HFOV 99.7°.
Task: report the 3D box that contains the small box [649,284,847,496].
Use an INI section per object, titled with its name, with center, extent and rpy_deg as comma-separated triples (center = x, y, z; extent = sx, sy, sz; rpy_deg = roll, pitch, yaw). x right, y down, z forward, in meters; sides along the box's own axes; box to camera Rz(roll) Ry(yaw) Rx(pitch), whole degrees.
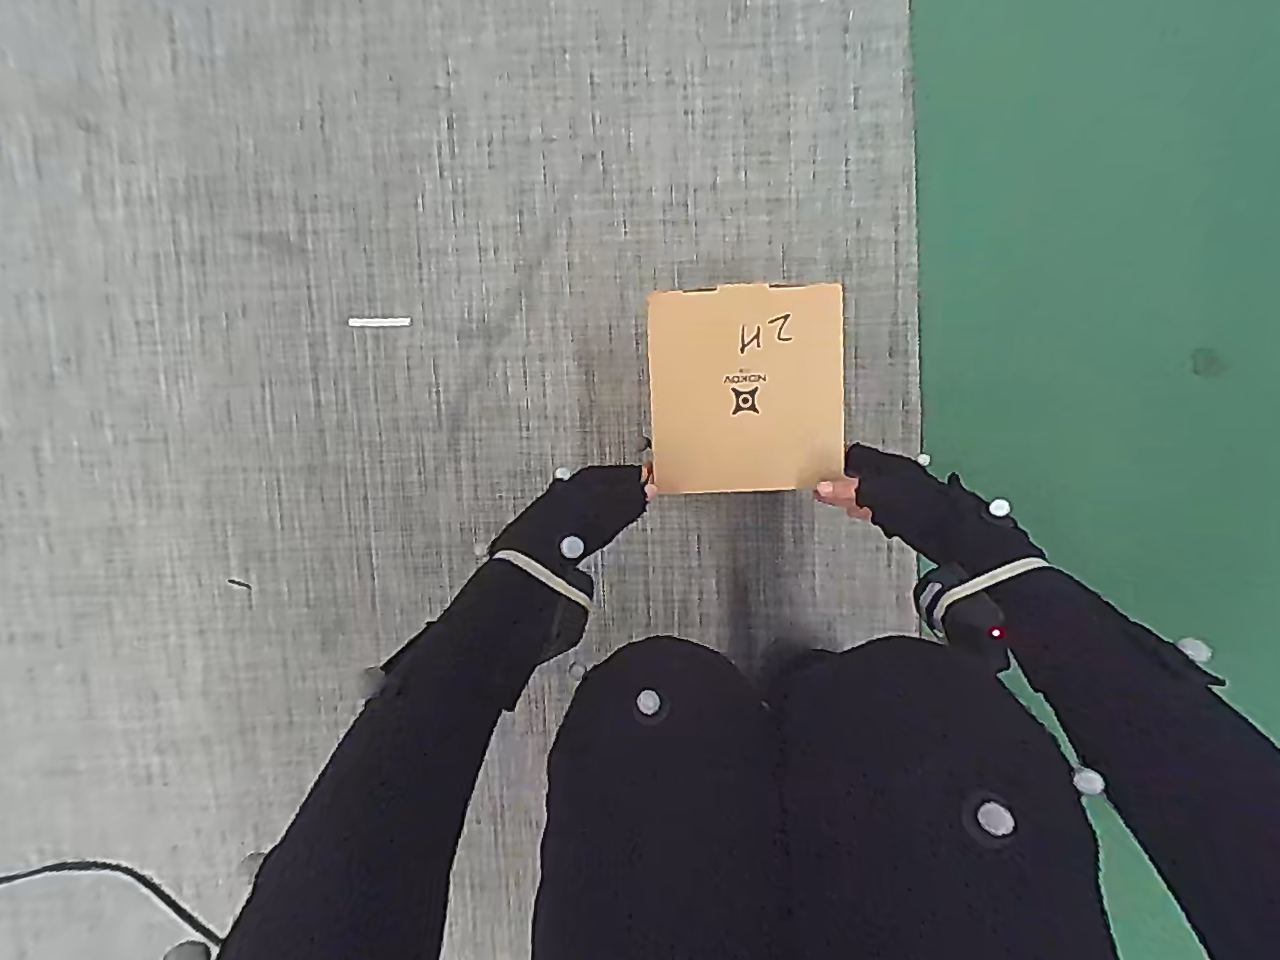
[small box]
center = 0.094, -0.082, 0.537
extent = 0.168, 0.176, 0.179
rpy_deg = -2, 94, 1
